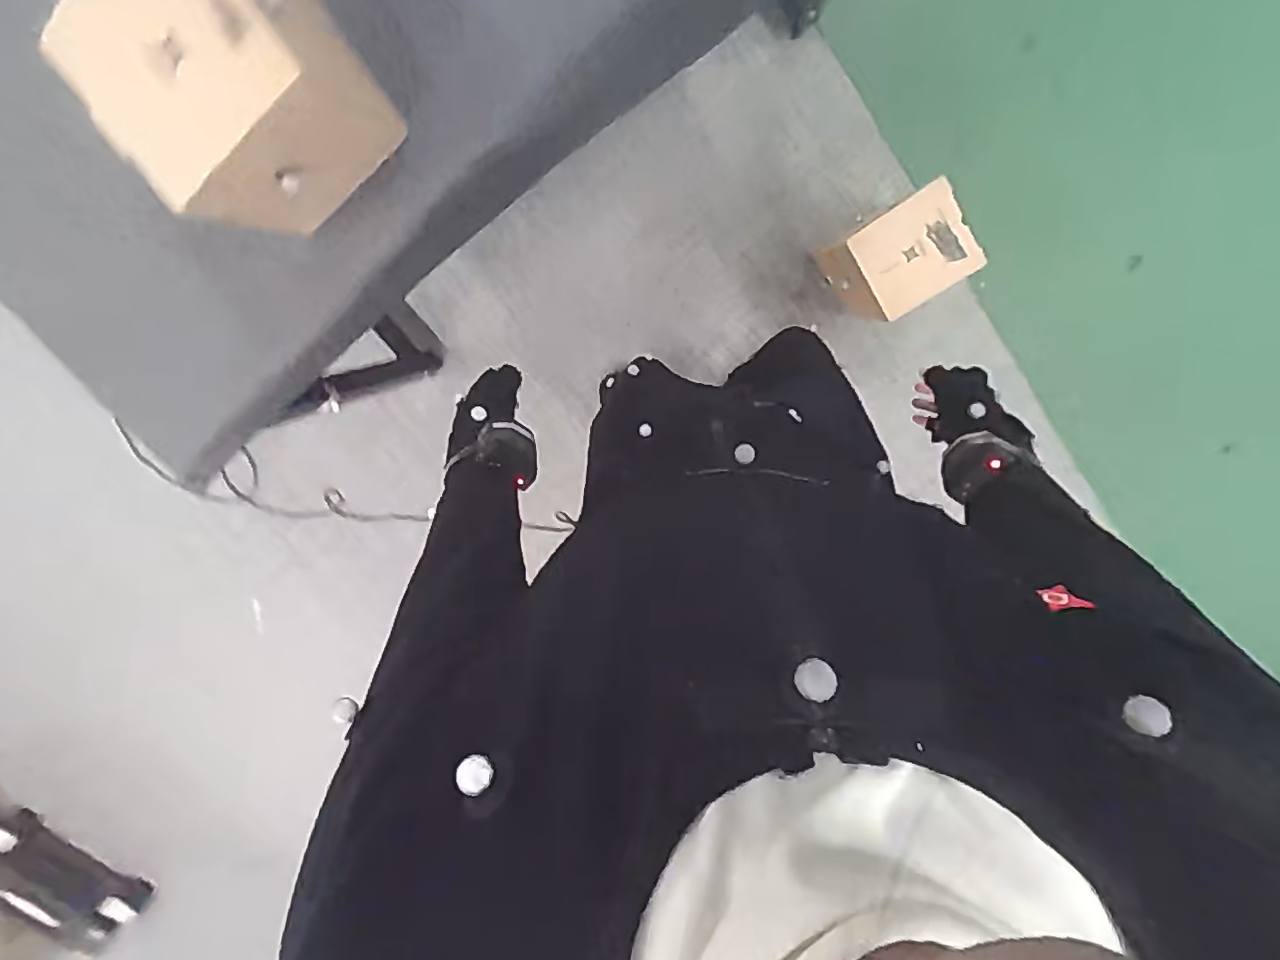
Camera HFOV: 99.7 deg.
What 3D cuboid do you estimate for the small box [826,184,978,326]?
[{"bbox_3d":[0.469,-0.405,0.994,0.179,0.176,0.168,-30,102,17],"label":"small box"}]

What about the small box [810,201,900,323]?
[{"bbox_3d":[0.486,-0.458,1.150,0.179,0.176,0.168,-31,101,18],"label":"small box"}]

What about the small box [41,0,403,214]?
[{"bbox_3d":[-0.369,-0.381,0.510,0.179,0.176,0.168,-31,102,17],"label":"small box"}]
